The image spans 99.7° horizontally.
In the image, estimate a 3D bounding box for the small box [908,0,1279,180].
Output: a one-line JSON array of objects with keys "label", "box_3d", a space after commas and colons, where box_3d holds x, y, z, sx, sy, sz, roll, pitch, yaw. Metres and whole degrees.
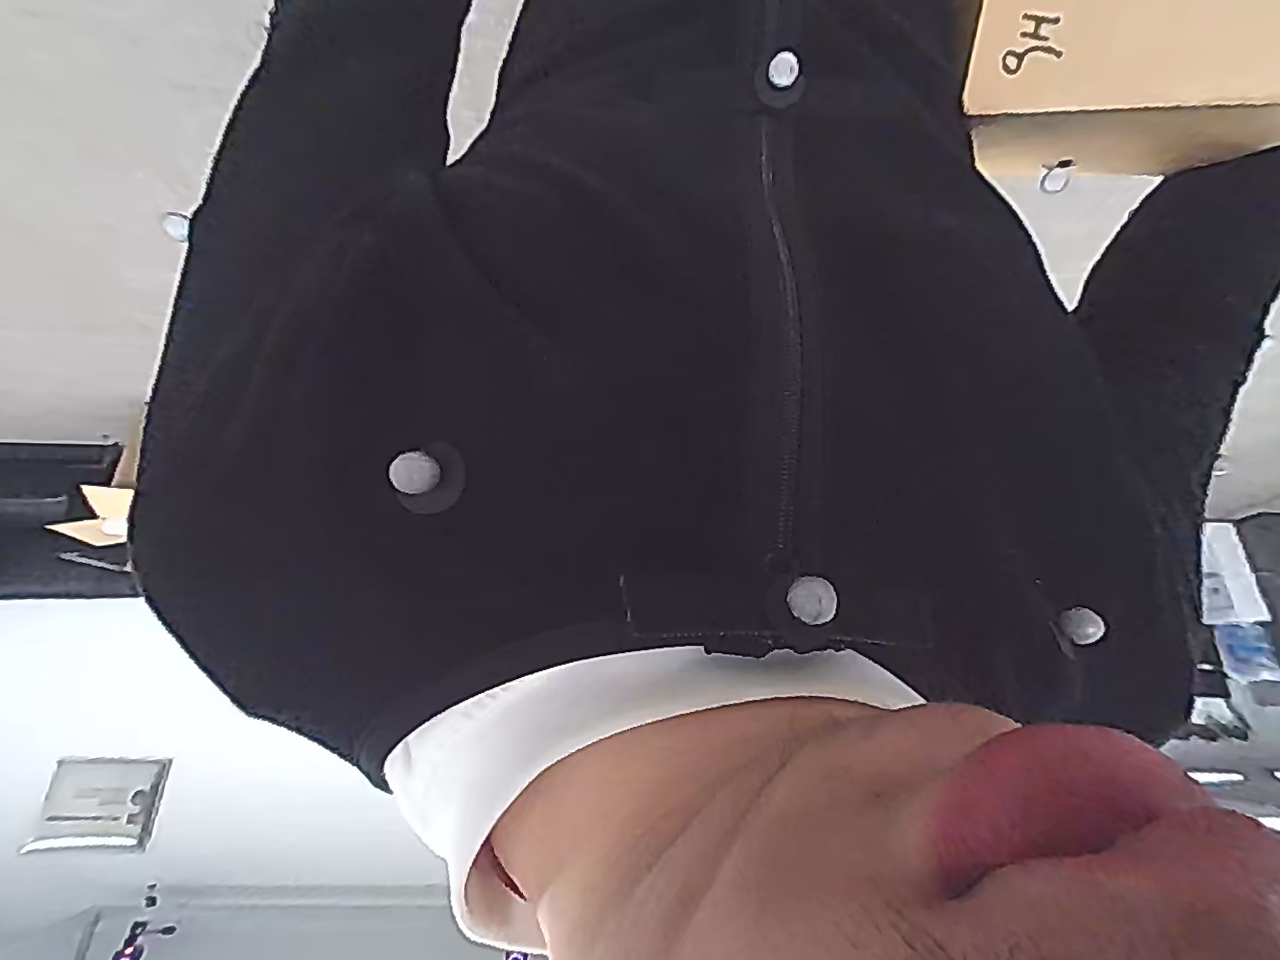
[{"label": "small box", "box_3d": [0.277, -0.281, 0.311, 0.179, 0.168, 0.176, 9, -159, 15]}]
